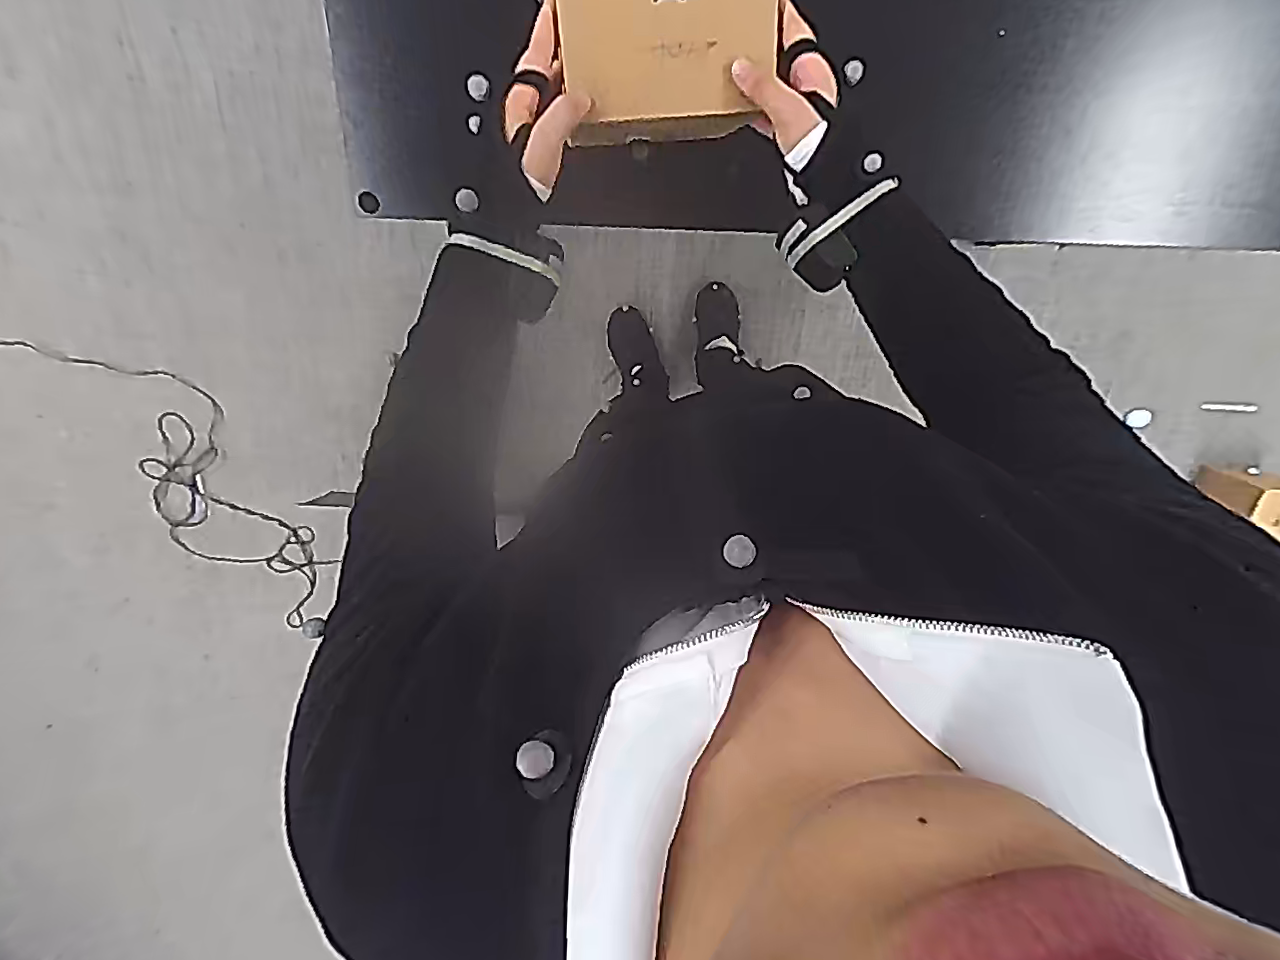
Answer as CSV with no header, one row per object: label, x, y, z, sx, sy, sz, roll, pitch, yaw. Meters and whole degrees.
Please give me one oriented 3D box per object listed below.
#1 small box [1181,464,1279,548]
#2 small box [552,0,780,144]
small box,1.680,0.071,1.503,0.168,0.176,0.179,3,113,-2
small box,0.011,-0.397,0.451,0.168,0.176,0.179,-7,117,-3
